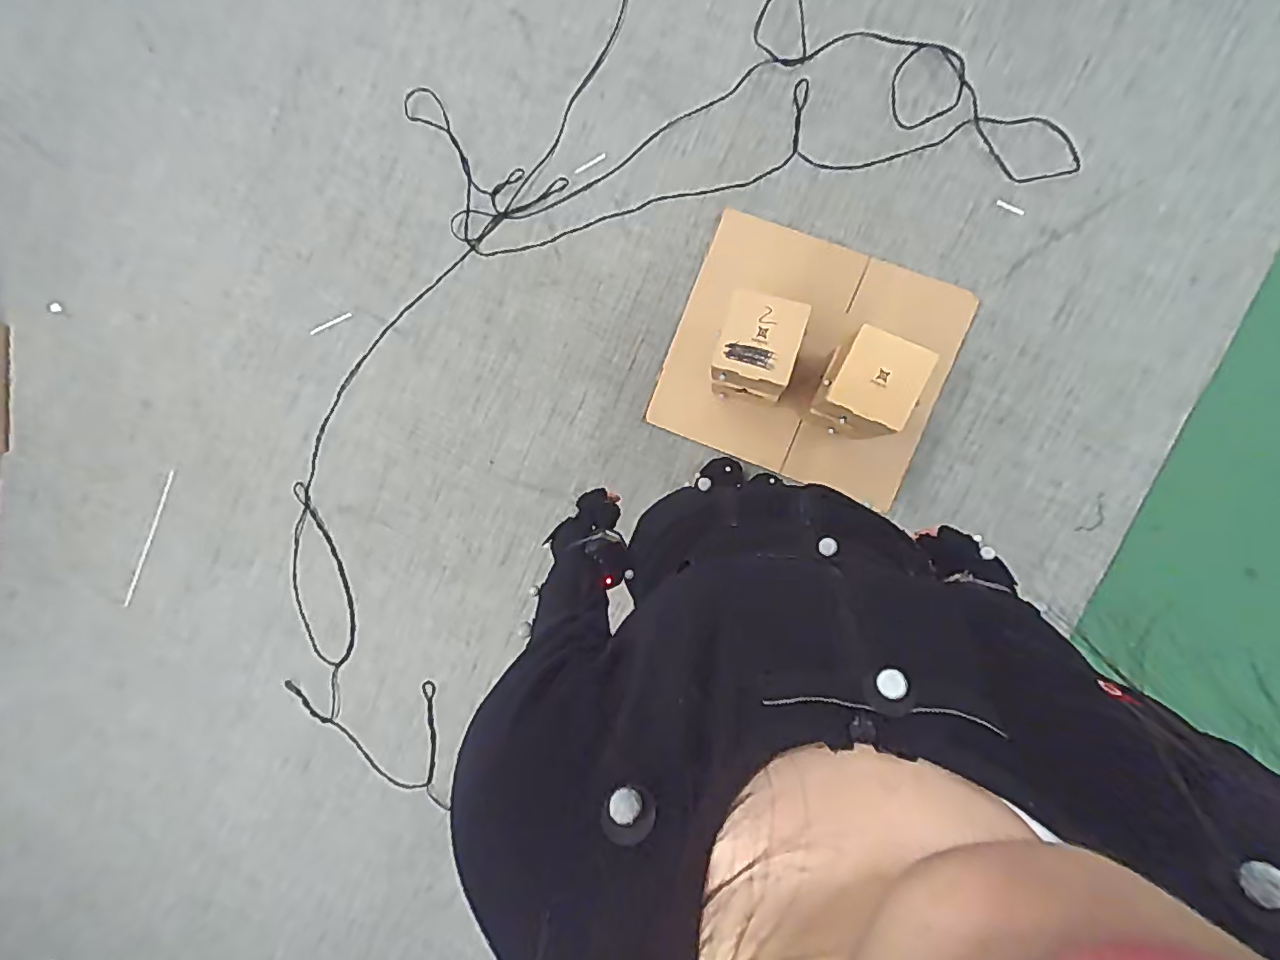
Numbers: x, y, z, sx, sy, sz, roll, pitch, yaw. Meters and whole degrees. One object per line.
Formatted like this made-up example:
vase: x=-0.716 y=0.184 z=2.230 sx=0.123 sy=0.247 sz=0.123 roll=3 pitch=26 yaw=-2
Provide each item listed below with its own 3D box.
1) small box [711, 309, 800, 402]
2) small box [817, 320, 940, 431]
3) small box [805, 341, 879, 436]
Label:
small box: x=0.285 y=-0.303 z=1.357 sx=0.168 sy=0.176 sz=0.179 roll=18 pitch=95 yaw=7
small box: x=0.502 y=-0.217 z=1.170 sx=0.168 sy=0.176 sz=0.179 roll=25 pitch=96 yaw=6
small box: x=0.521 y=-0.218 z=1.332 sx=0.168 sy=0.176 sz=0.179 roll=22 pitch=96 yaw=8
